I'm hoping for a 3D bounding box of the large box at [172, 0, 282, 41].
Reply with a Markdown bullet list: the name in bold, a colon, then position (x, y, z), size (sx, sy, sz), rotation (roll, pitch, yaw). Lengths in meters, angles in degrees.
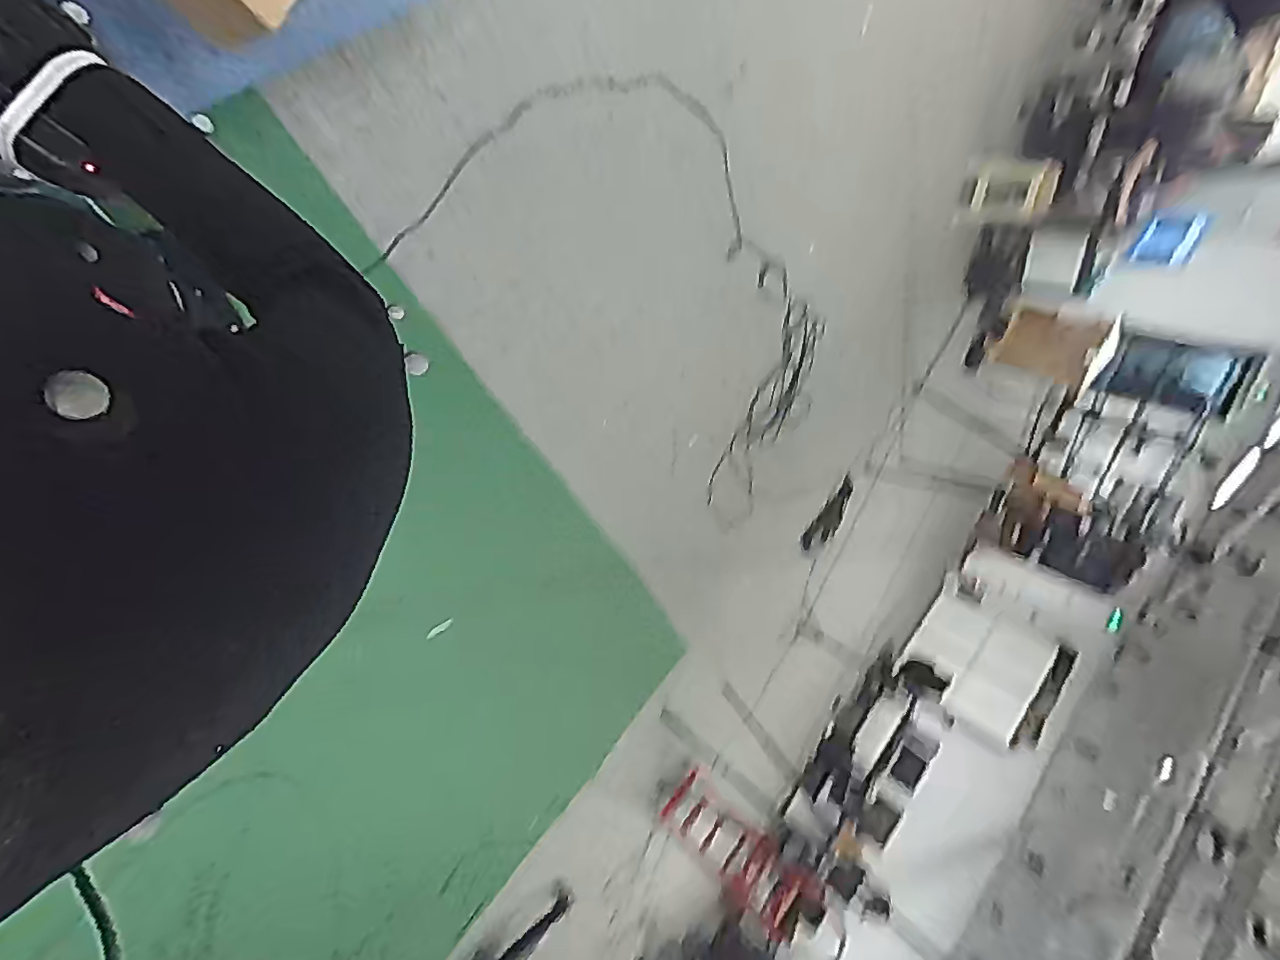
- **large box**: position (-0.608, -0.842, 0.635), size (0.408, 0.320, 0.320), rotation (31, 88, -51)
